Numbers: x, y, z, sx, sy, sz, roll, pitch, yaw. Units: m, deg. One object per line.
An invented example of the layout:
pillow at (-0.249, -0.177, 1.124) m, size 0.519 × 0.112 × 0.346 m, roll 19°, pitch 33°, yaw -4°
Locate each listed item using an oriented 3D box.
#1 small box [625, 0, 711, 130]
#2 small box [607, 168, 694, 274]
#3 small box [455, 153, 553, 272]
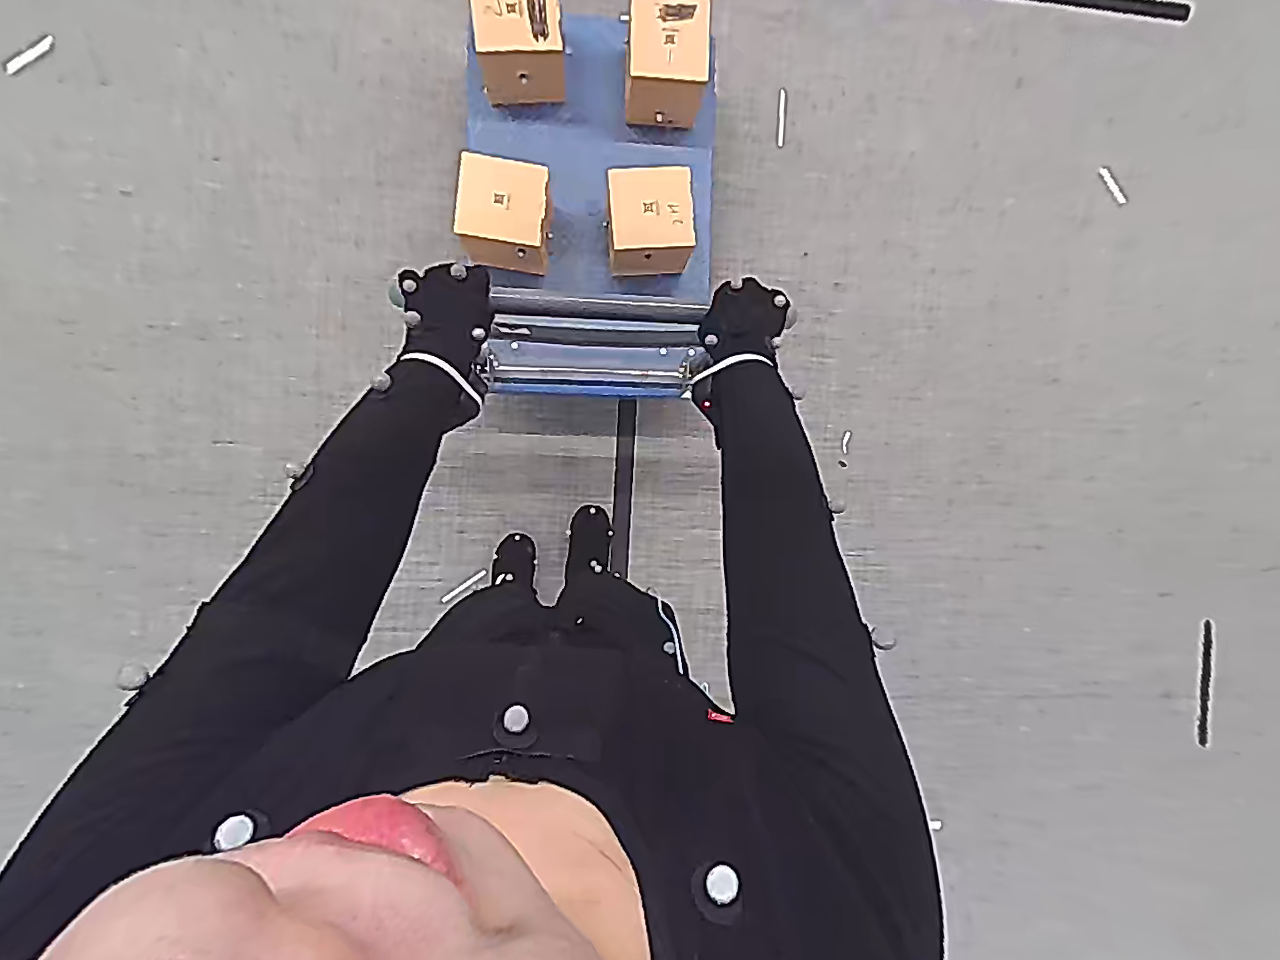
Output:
small box at (0.055, -0.920, 1.196) m, size 0.168 × 0.176 × 0.179 m, roll 1°, pitch 93°, yaw -5°
small box at (0.017, -0.569, 1.208) m, size 0.179 × 0.176 × 0.168 m, roll -5°, pitch 93°, yaw -5°
small box at (-0.289, -0.572, 1.178) m, size 0.179 × 0.176 × 0.168 m, roll 7°, pitch 91°, yaw -7°
